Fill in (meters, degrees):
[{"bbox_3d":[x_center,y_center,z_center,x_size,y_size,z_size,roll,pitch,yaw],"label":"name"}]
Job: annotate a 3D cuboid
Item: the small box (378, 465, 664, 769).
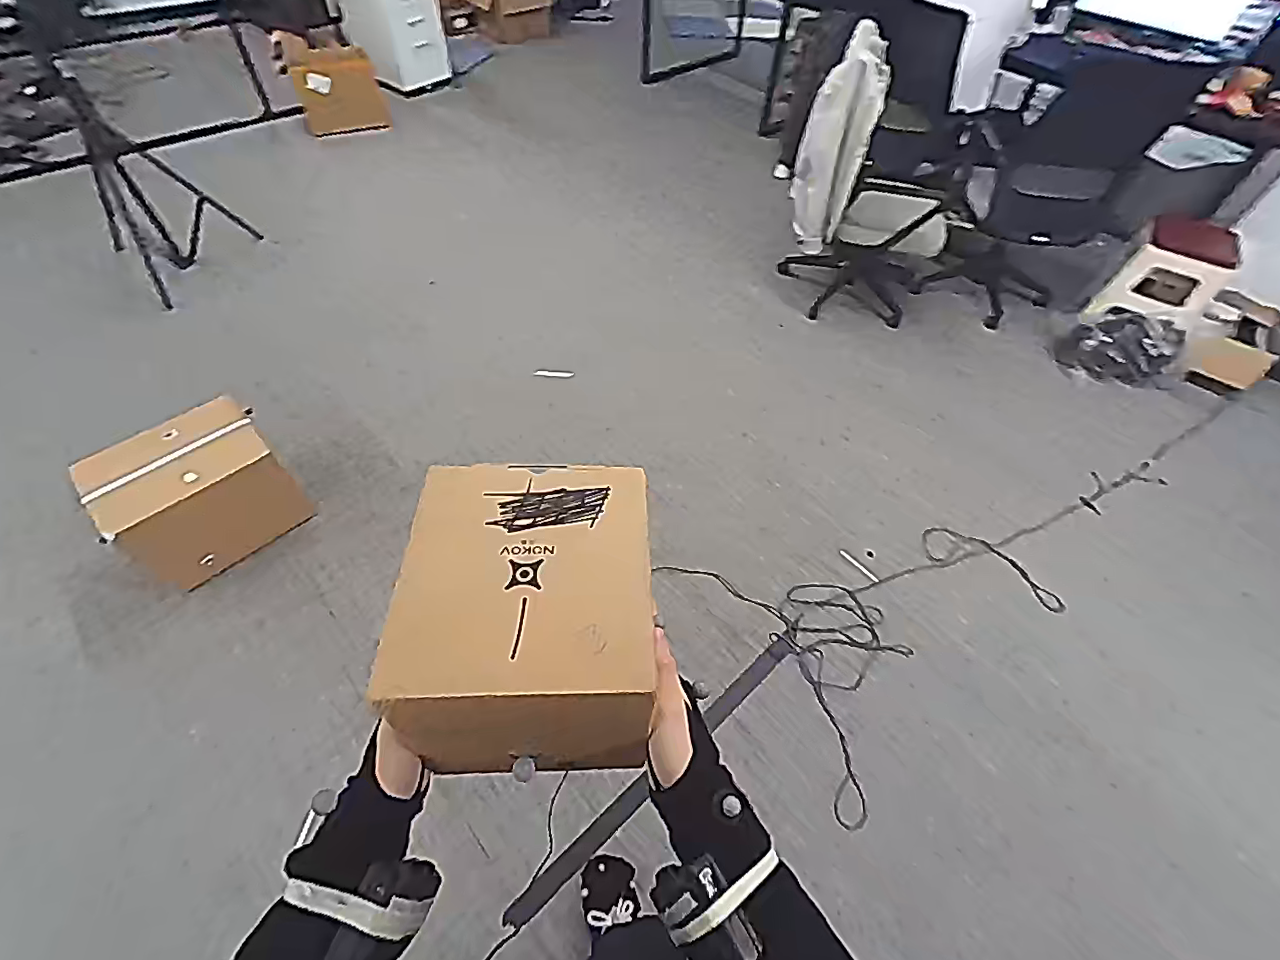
[{"bbox_3d":[-0.074,0.107,0.422,0.168,0.176,0.179,-1,49,-4],"label":"small box"}]
